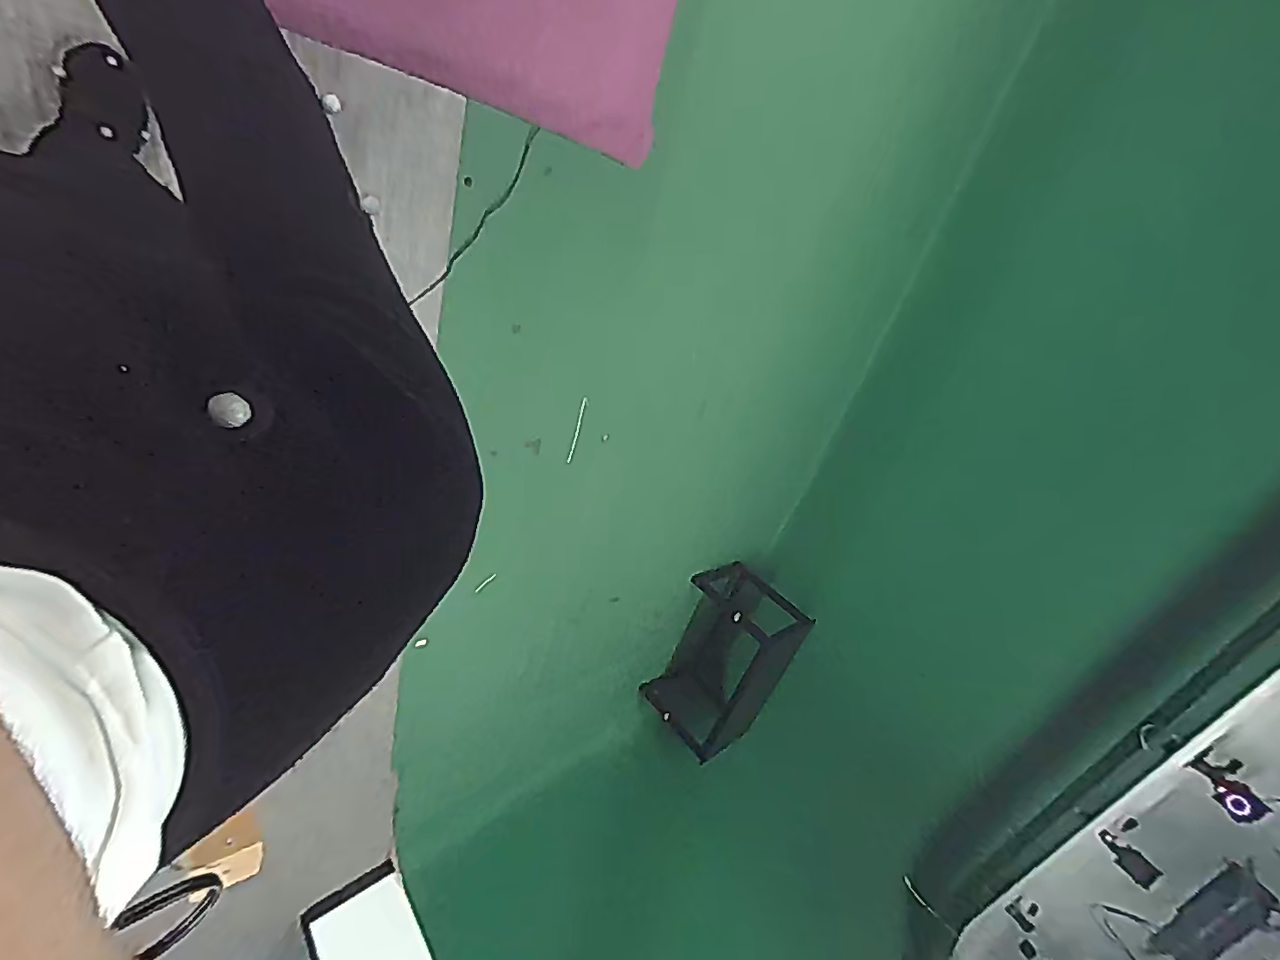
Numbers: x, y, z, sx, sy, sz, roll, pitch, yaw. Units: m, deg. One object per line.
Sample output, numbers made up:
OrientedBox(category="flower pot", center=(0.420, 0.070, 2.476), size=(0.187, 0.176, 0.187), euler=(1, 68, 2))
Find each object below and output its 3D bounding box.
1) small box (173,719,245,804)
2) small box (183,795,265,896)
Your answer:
OrientedBox(category="small box", center=(-1.509, 0.974, 1.891), size=(0.179, 0.176, 0.168), euler=(-4, 125, -44))
OrientedBox(category="small box", center=(-1.303, 1.132, 1.692), size=(0.179, 0.176, 0.168), euler=(-2, 122, -46))
